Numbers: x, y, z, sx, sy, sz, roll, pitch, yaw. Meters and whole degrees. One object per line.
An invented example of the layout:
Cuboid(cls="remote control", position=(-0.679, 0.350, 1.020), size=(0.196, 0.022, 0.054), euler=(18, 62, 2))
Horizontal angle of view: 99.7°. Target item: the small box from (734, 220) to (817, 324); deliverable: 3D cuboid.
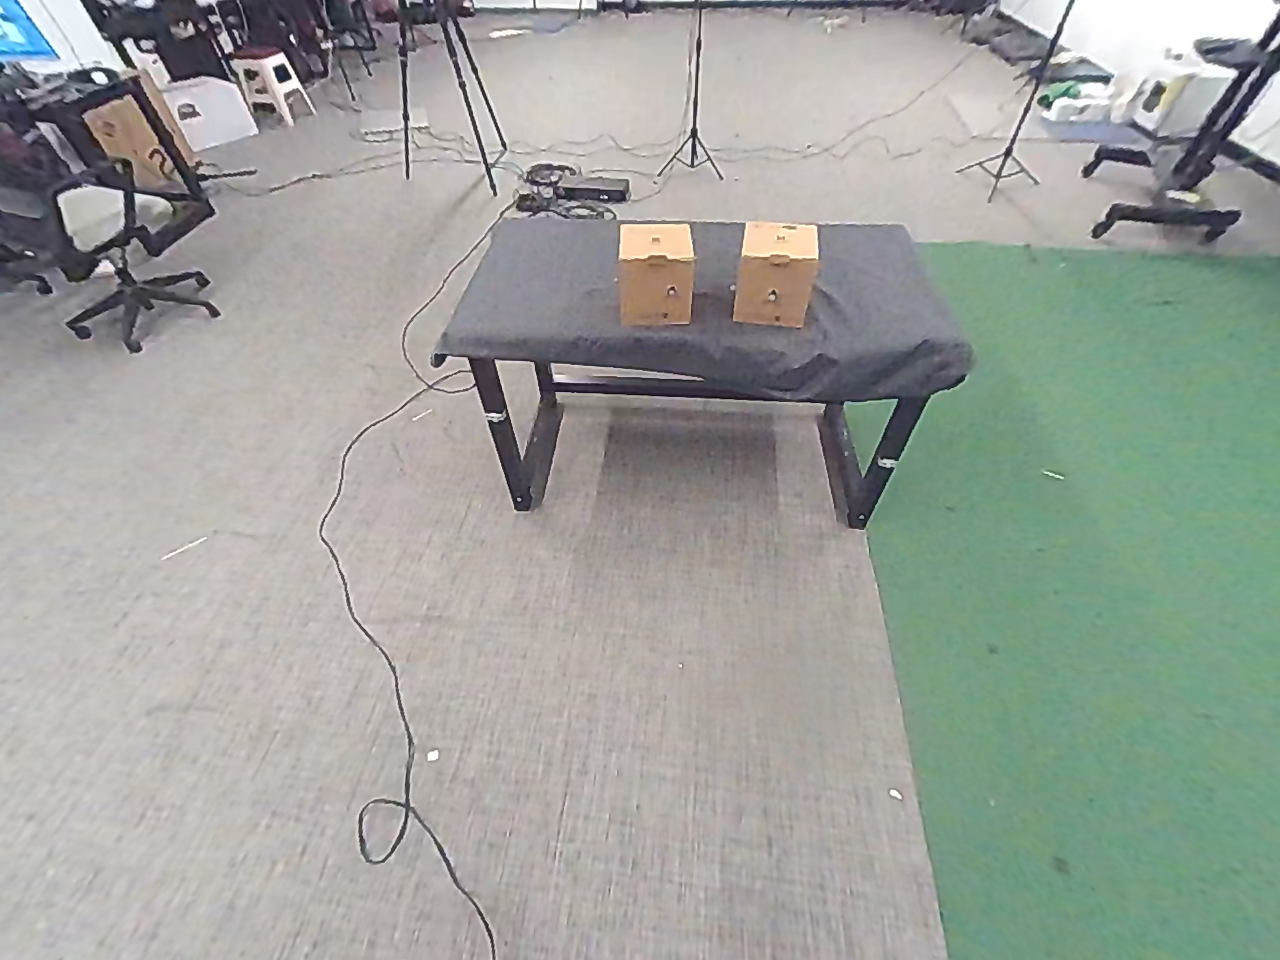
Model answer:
Cuboid(cls="small box", position=(0.316, -0.486, 1.272), size=(0.168, 0.176, 0.179), euler=(8, 50, 8))

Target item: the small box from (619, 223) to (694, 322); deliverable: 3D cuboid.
Cuboid(cls="small box", position=(0.036, -0.488, 1.279), size=(0.168, 0.176, 0.179), euler=(0, 47, -1))
